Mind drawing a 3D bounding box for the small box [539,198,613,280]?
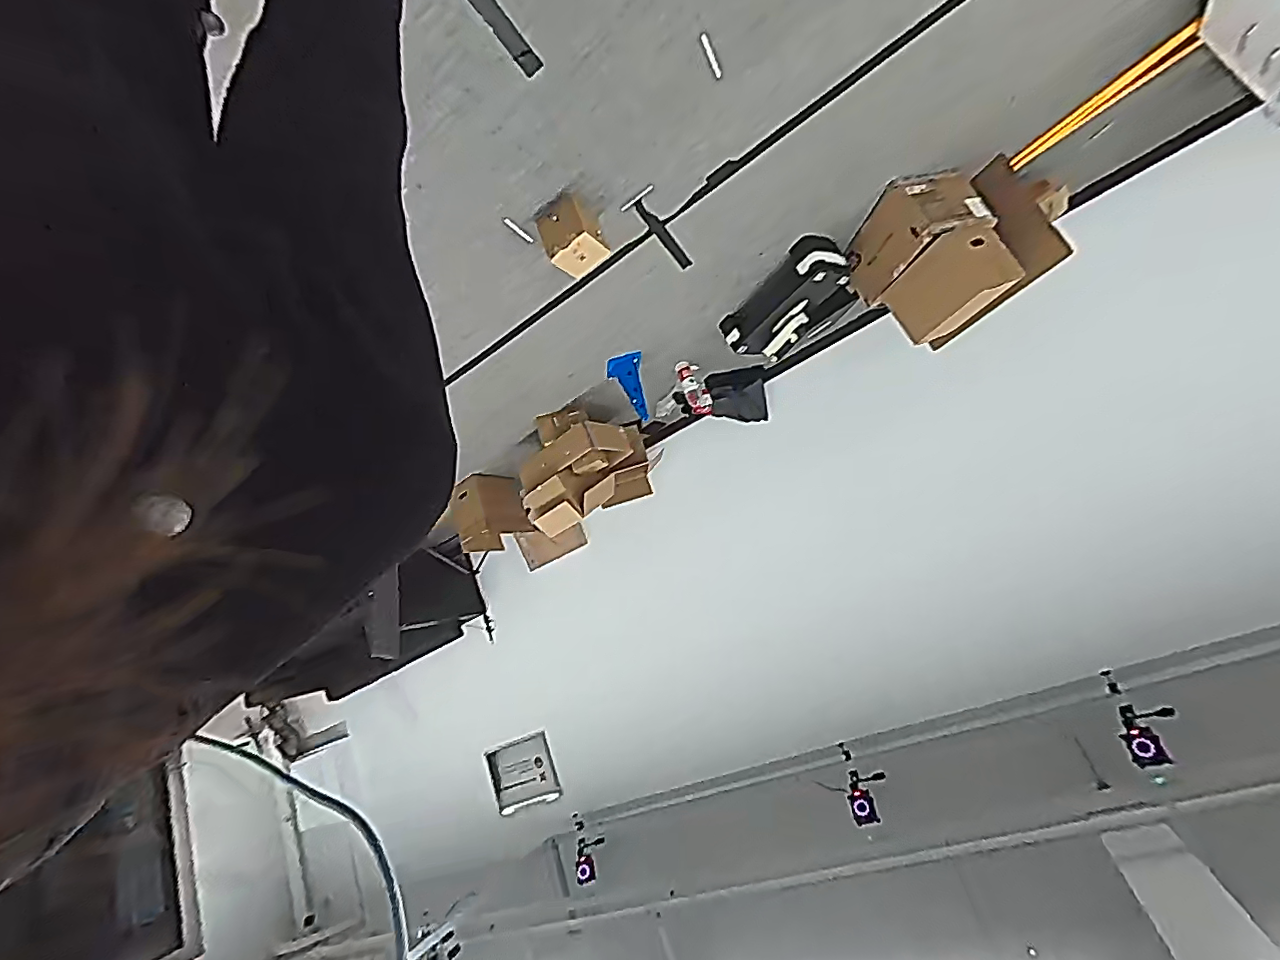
[{"bbox_3d":[-0.226,-0.854,1.918,0.168,0.176,0.179,-29,161,25],"label":"small box"}]
